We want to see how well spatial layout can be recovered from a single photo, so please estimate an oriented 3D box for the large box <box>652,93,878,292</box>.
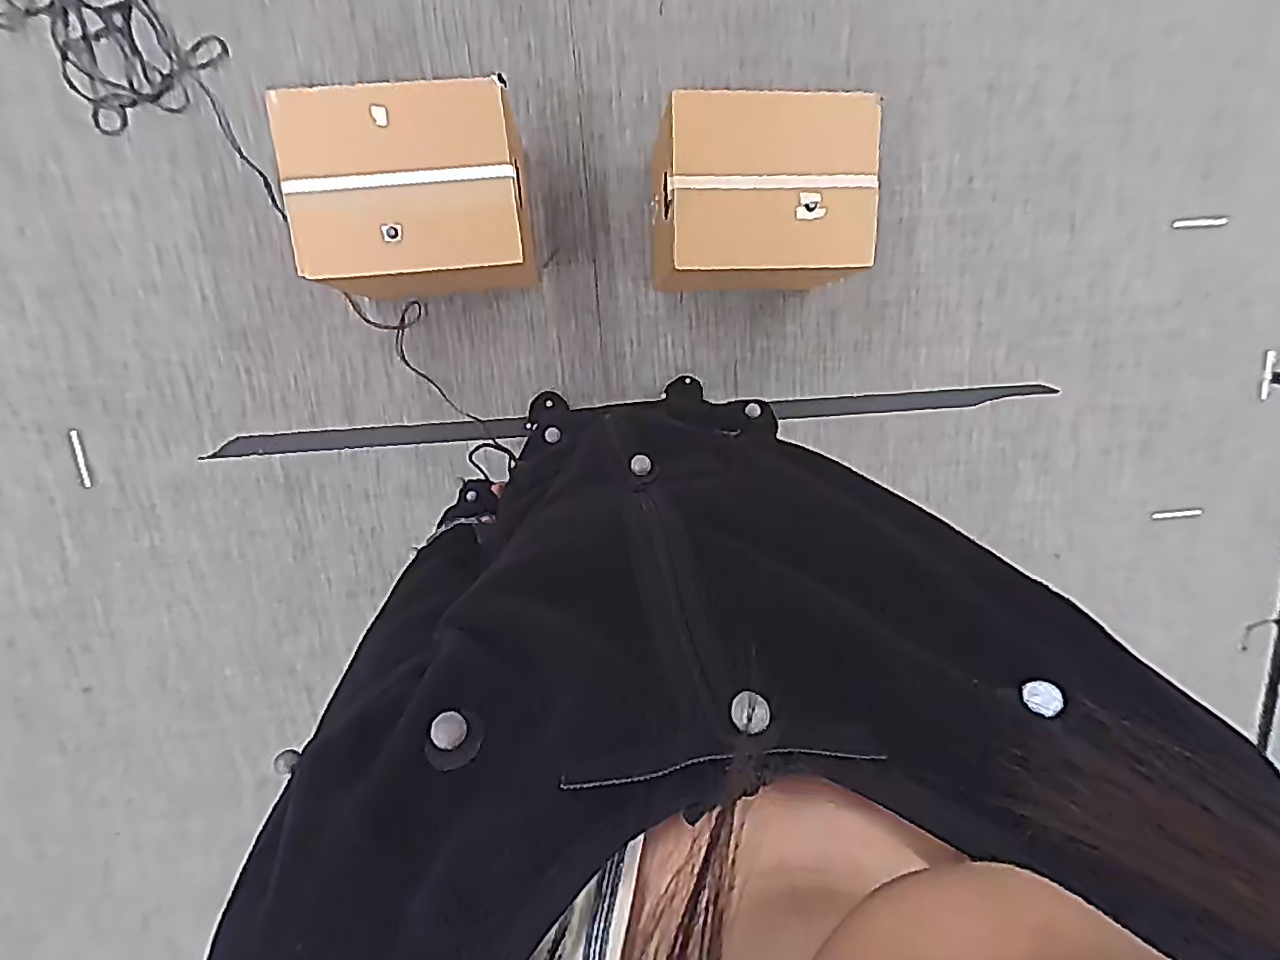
[{"bbox_3d":[0.247,-0.600,1.186,0.408,0.320,0.320,-3,102,-6],"label":"large box"}]
